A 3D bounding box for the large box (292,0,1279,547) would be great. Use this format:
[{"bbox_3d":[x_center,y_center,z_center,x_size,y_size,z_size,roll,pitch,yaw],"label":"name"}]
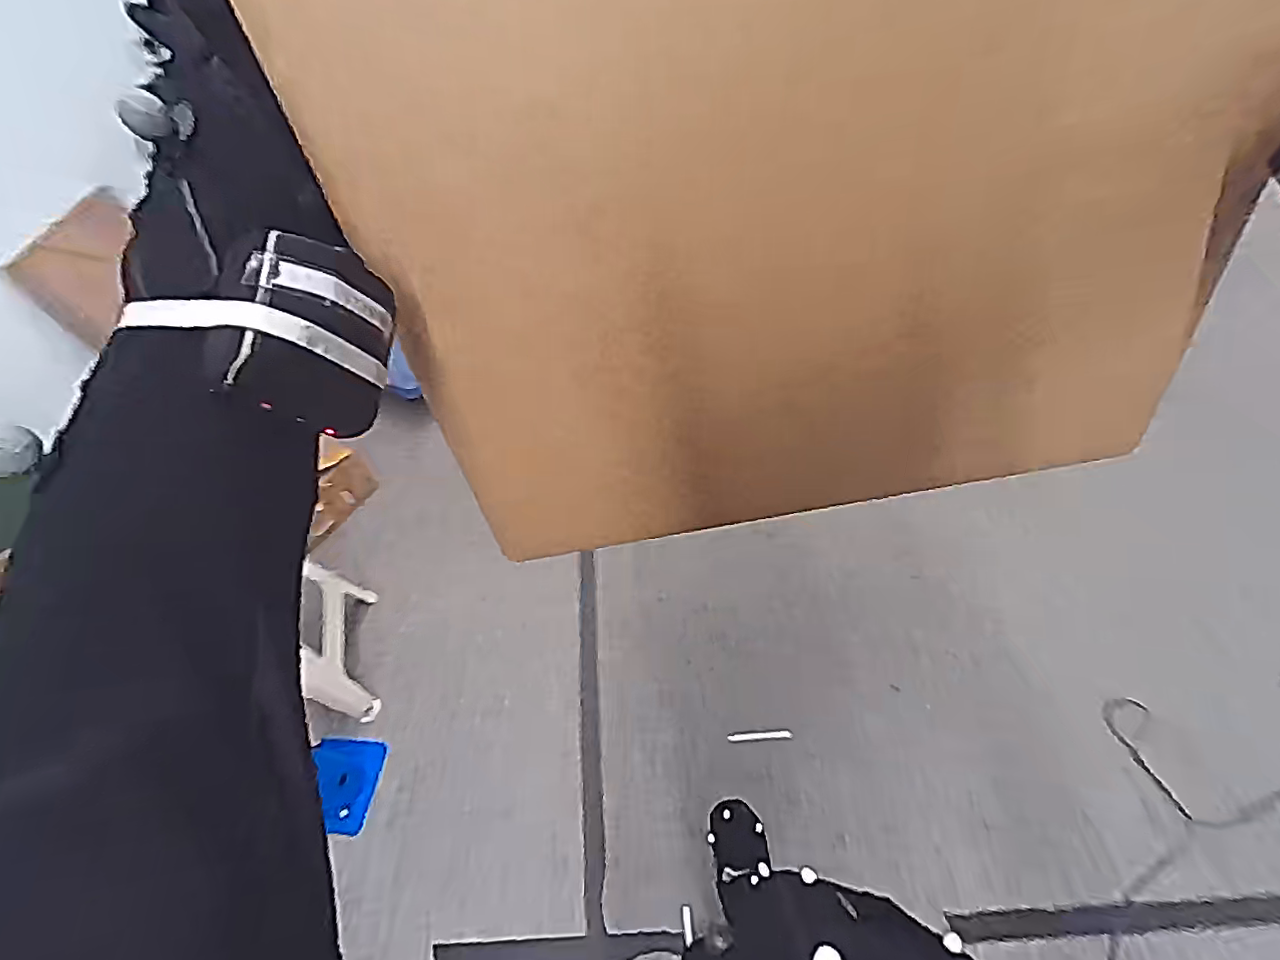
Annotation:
[{"bbox_3d":[0.075,-0.192,0.383,0.408,0.320,0.320,-10,38,2],"label":"large box"}]
